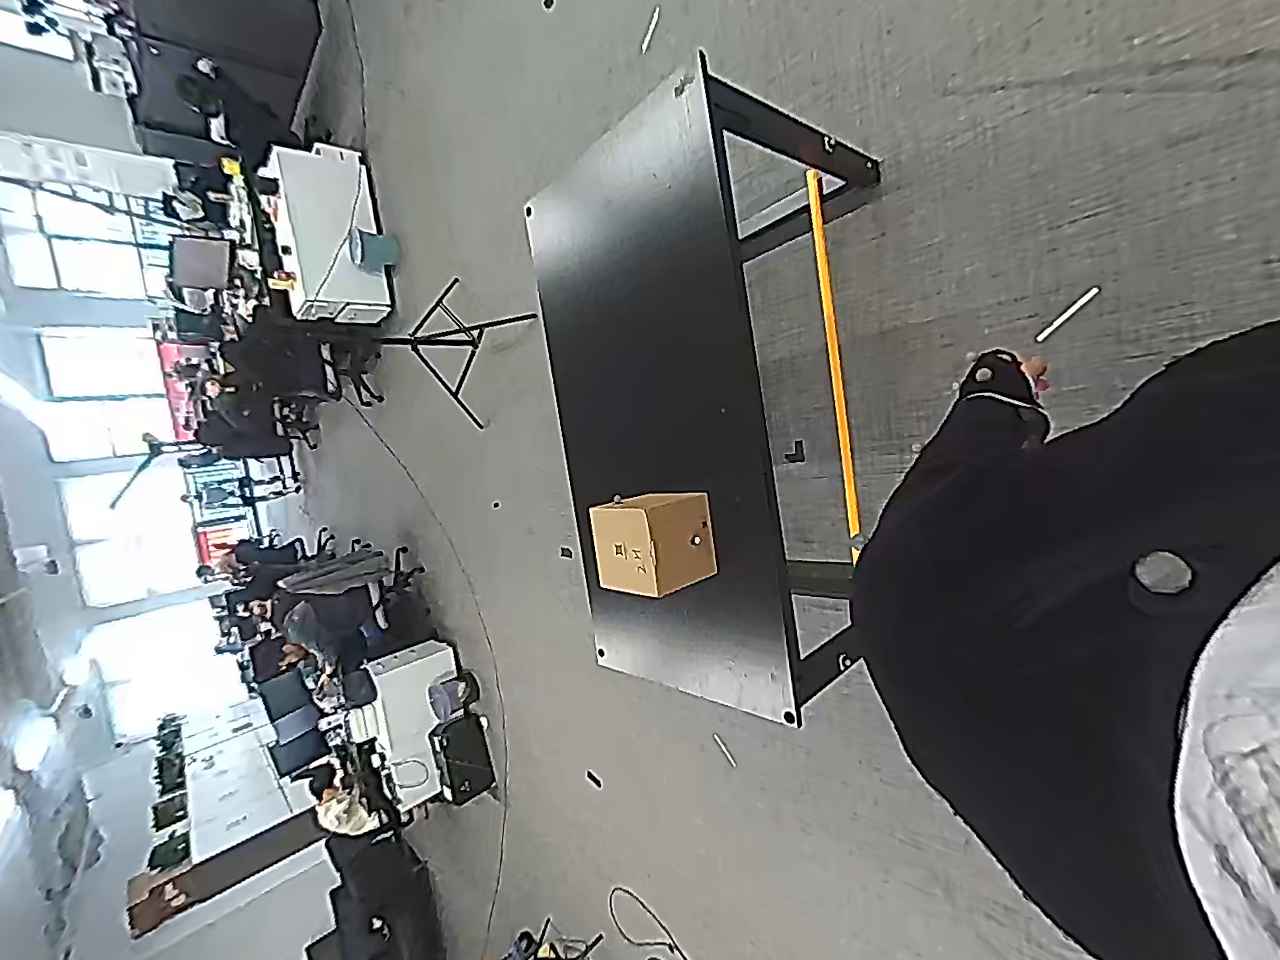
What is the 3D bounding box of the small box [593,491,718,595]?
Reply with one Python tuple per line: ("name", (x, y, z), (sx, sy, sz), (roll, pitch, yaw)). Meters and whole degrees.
("small box", (0.031, 0.118, 1.083), (0.179, 0.176, 0.168), (-3, 97, 49))
